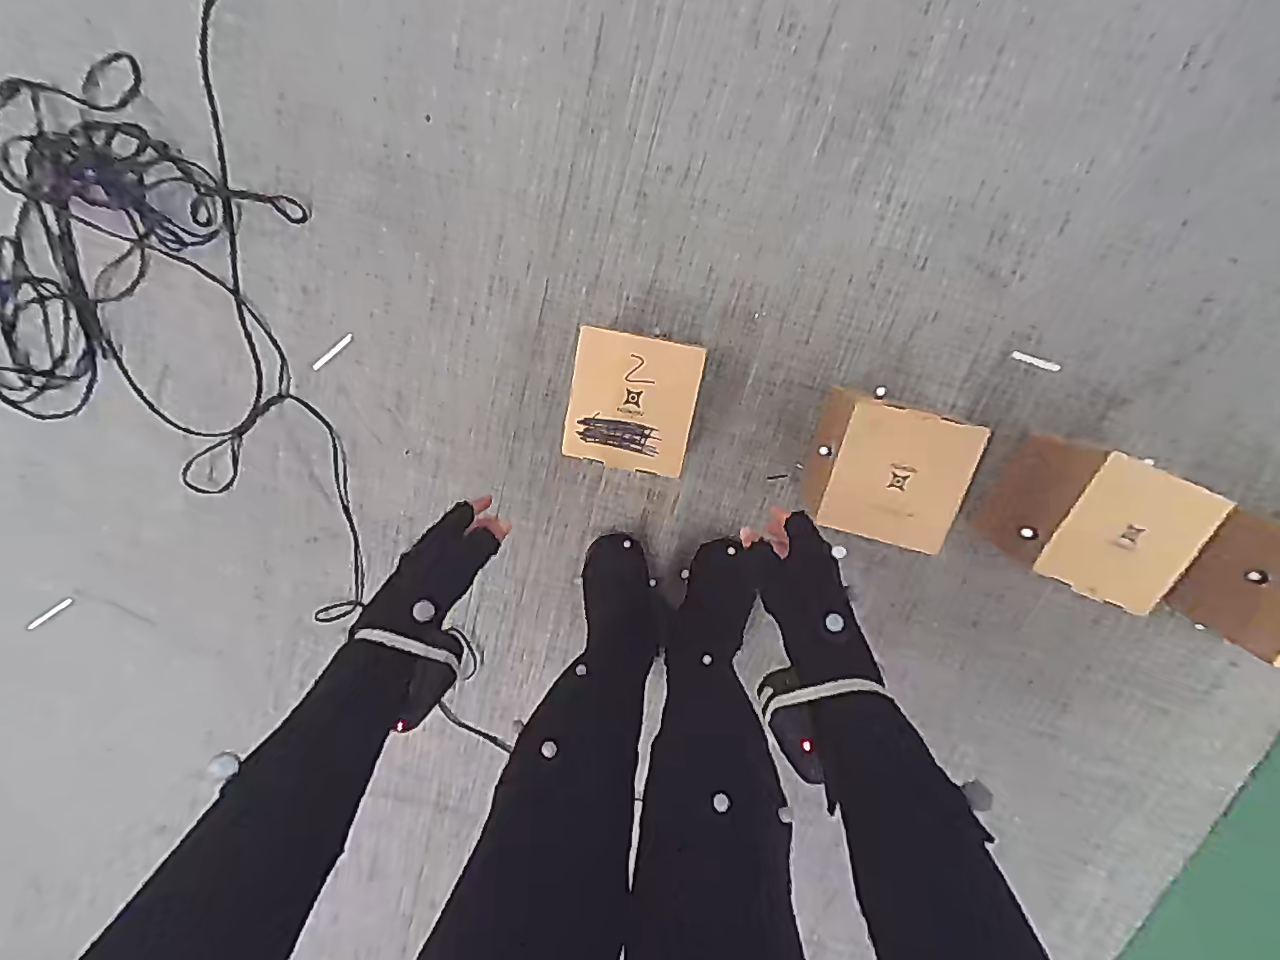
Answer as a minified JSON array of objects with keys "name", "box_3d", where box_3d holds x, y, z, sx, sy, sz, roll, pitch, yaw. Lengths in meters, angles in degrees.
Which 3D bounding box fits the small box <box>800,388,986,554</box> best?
[{"name":"small box","box_3d":[0.338,-0.024,0.766,0.168,0.176,0.179,15,108,4]}]

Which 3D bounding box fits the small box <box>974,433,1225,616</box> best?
[{"name":"small box","box_3d":[0.614,0.049,0.755,0.168,0.176,0.179,23,107,0]}]

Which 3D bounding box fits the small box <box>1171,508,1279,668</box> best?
[{"name":"small box","box_3d":[0.913,0.161,0.749,0.168,0.176,0.179,19,105,1]}]
